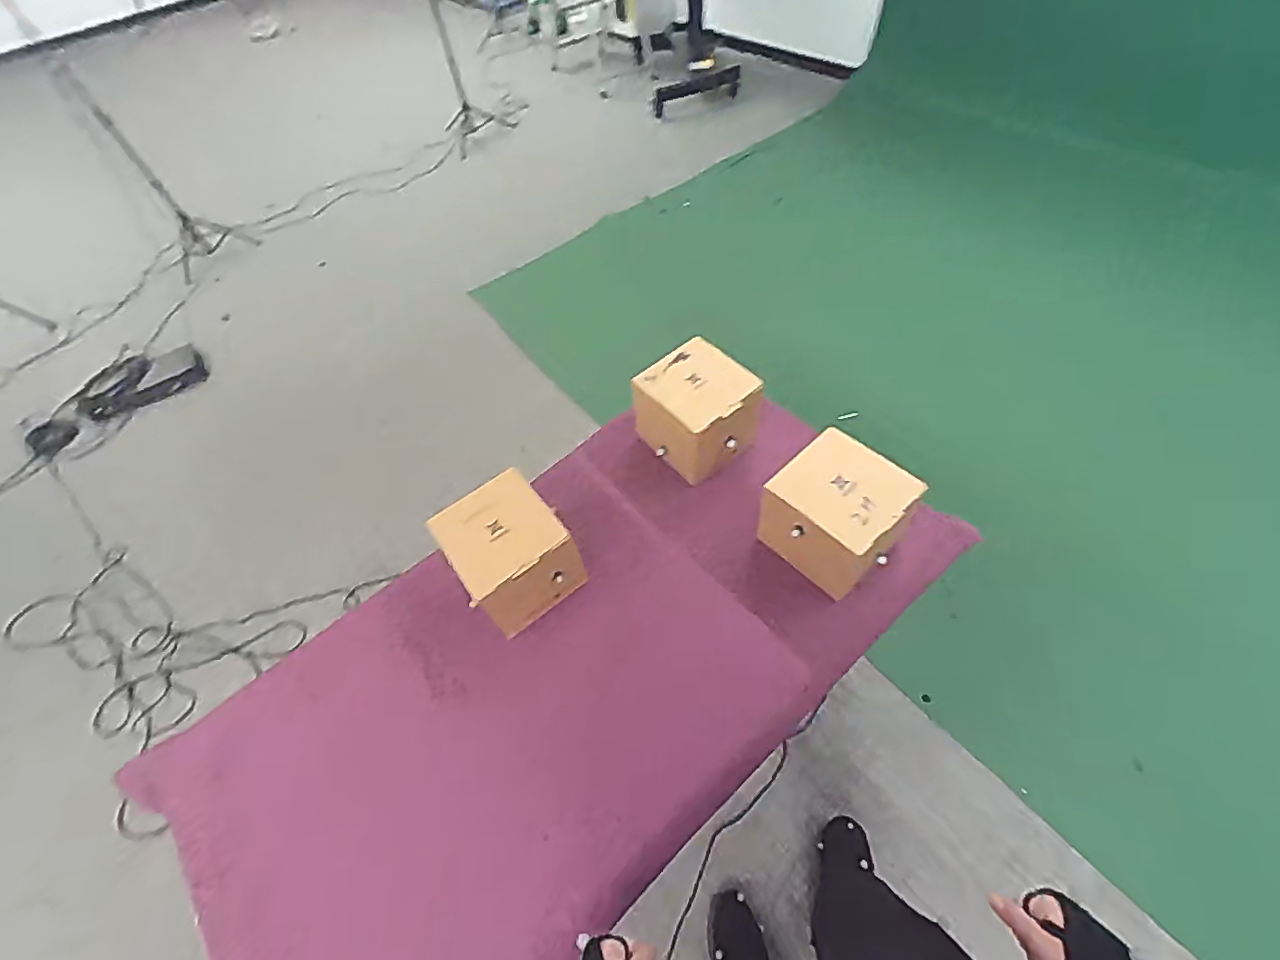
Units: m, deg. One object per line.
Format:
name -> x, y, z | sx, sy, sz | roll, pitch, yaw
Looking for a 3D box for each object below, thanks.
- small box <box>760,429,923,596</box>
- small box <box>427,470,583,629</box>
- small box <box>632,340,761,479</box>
small box -> 0.313, 0.057, 0.882 | 0.168, 0.176, 0.179 | -38, 59, -18
small box -> -0.214, 0.124, 0.899 | 0.168, 0.176, 0.179 | -34, 59, -18
small box -> 0.105, -0.125, 1.034 | 0.168, 0.176, 0.179 | -36, 62, -18
